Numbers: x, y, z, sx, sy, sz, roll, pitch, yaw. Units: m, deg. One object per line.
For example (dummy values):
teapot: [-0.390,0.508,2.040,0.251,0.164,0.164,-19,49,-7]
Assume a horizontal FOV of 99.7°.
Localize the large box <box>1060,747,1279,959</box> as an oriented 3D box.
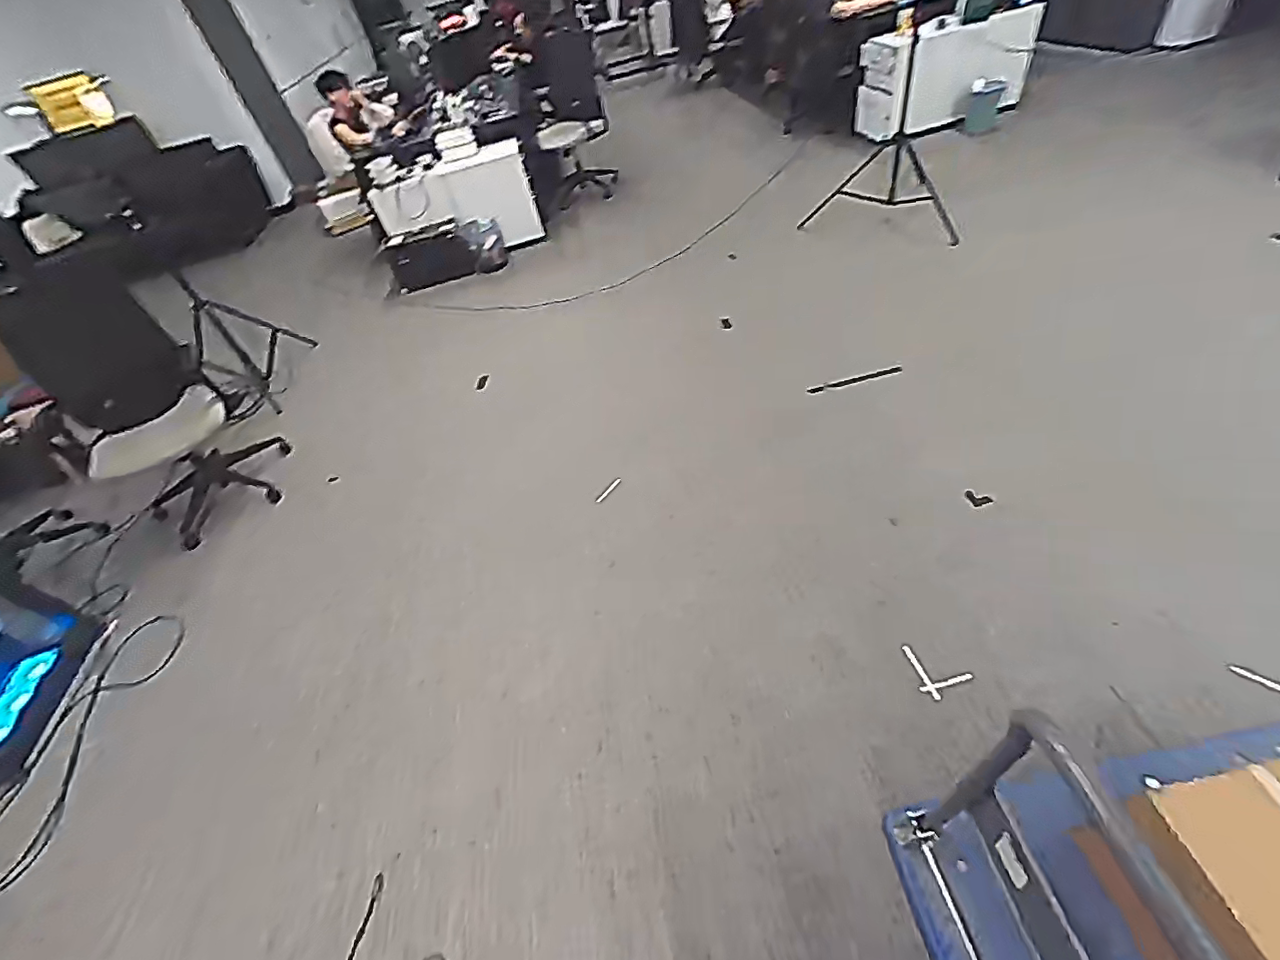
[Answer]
large box: [0.946,0.671,0.789,0.320,0.320,0.408,-13,44,1]
